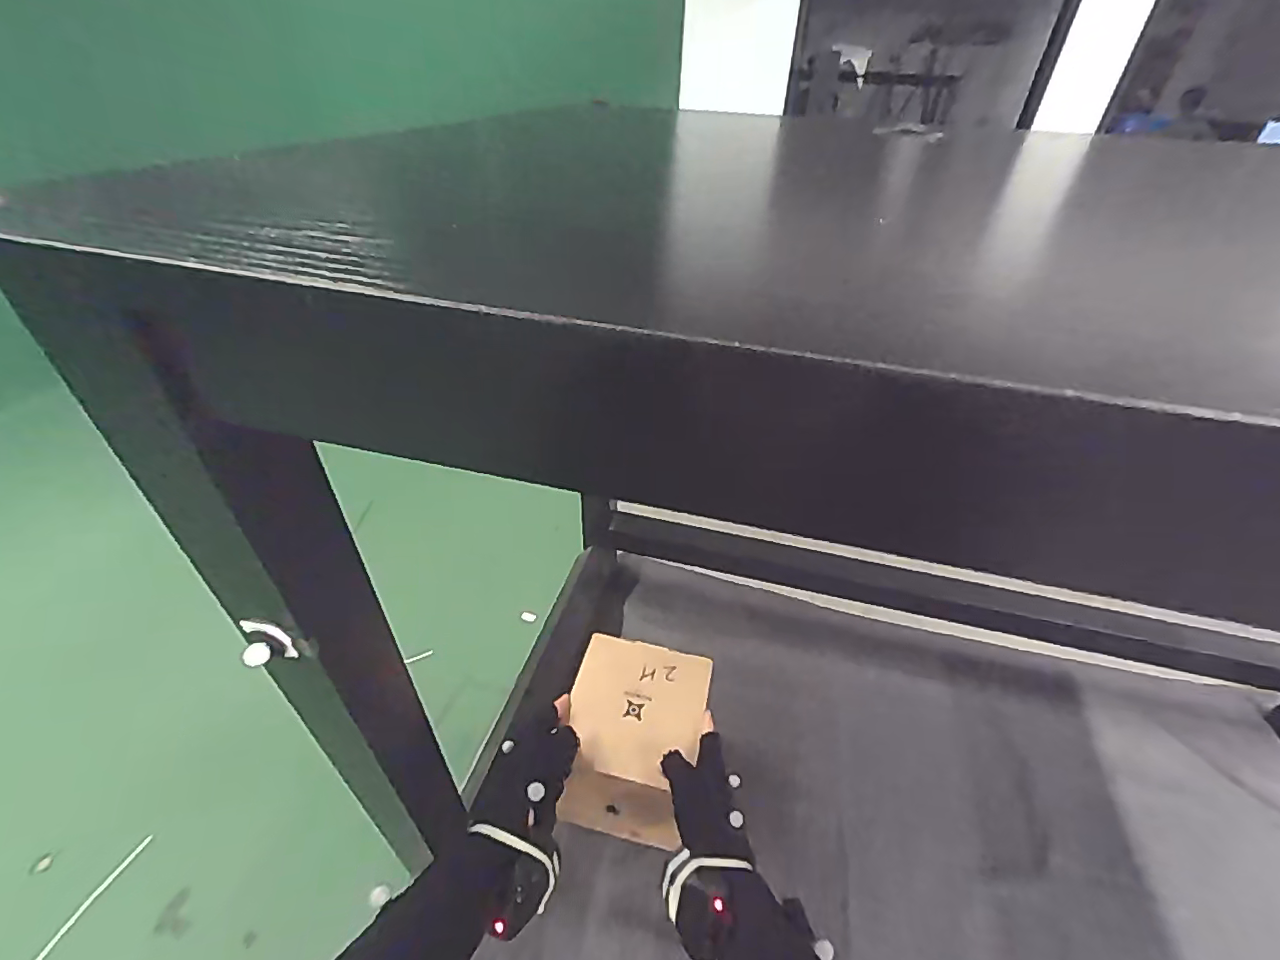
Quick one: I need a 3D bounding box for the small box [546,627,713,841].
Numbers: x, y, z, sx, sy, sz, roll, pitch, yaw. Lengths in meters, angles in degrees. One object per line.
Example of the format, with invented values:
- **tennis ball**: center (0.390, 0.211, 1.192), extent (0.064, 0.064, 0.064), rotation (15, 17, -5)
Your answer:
- **small box**: center (-0.007, 0.325, 0.695), extent (0.168, 0.176, 0.179), rotation (11, 39, 10)
